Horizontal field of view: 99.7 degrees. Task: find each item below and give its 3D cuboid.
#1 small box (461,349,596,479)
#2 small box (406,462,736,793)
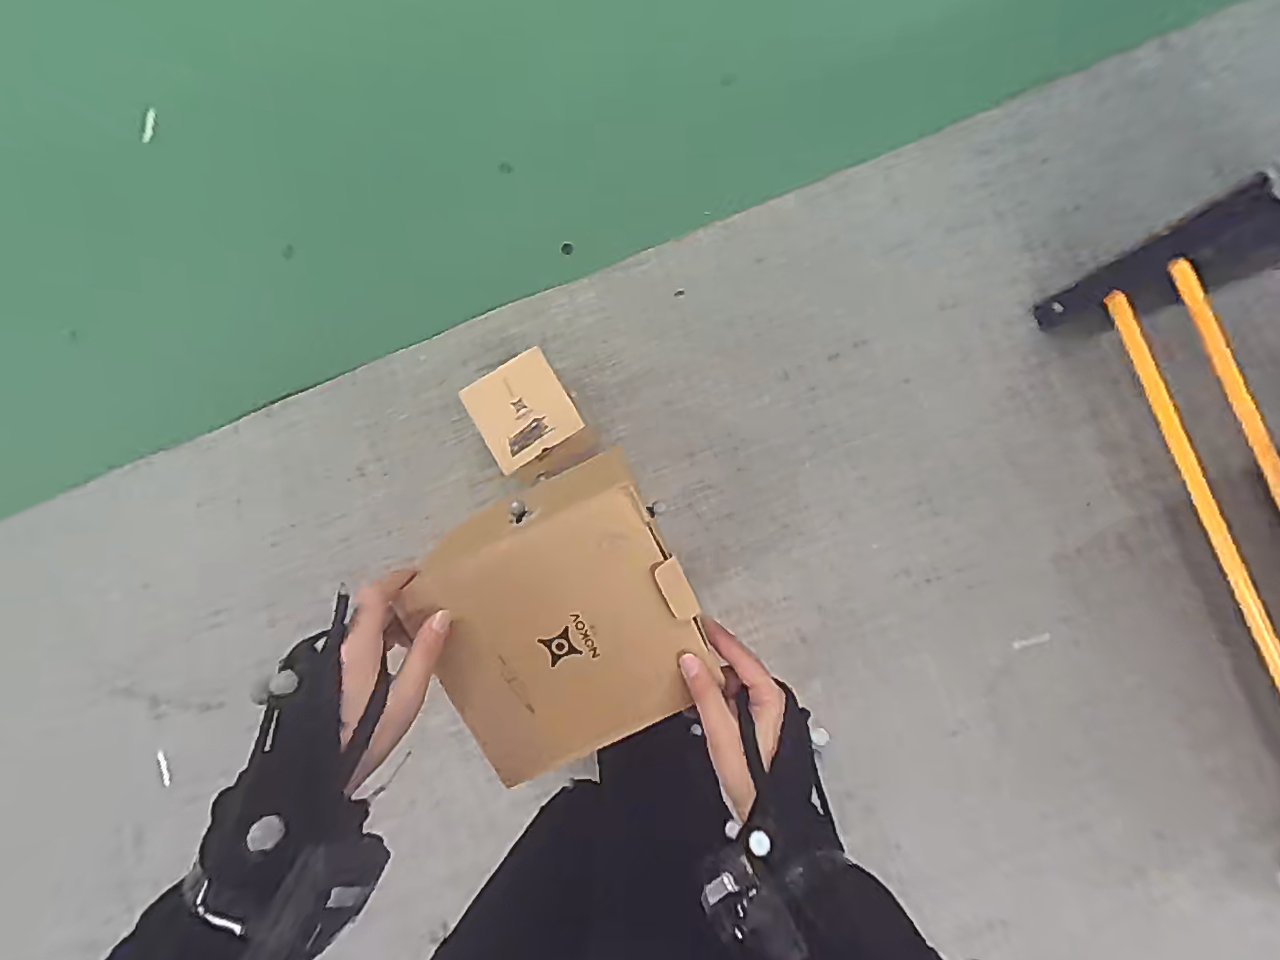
[{"bbox_3d":[-0.199,-0.112,1.021,0.168,0.176,0.179,-31,84,0],"label":"small box"},{"bbox_3d":[-0.048,0.099,0.442,0.179,0.176,0.168,-26,101,1],"label":"small box"}]
